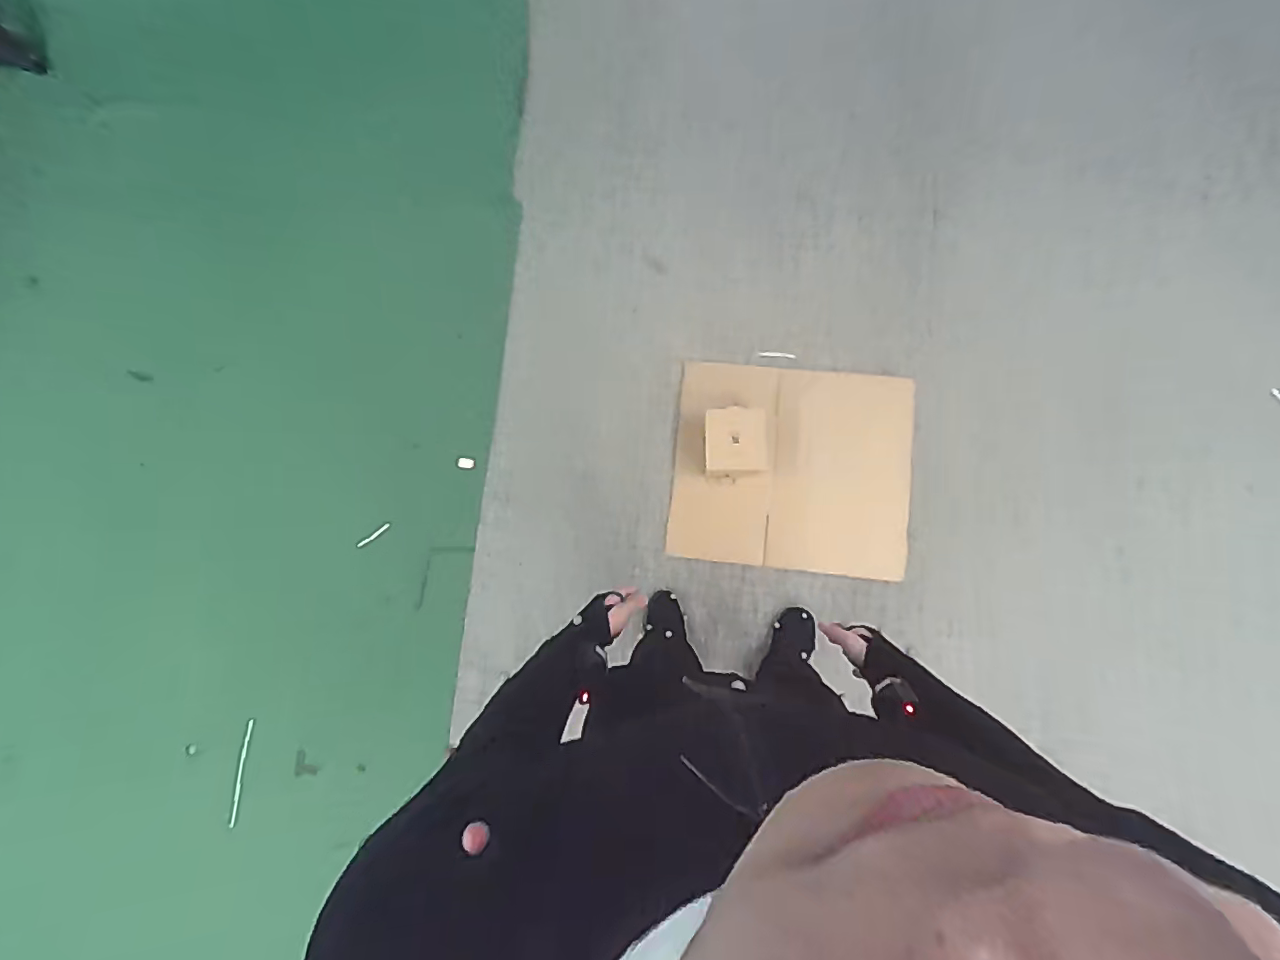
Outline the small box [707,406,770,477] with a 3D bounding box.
[{"bbox_3d":[0.278,-0.106,1.549,0.168,0.176,0.179,0,83,6],"label":"small box"}]
